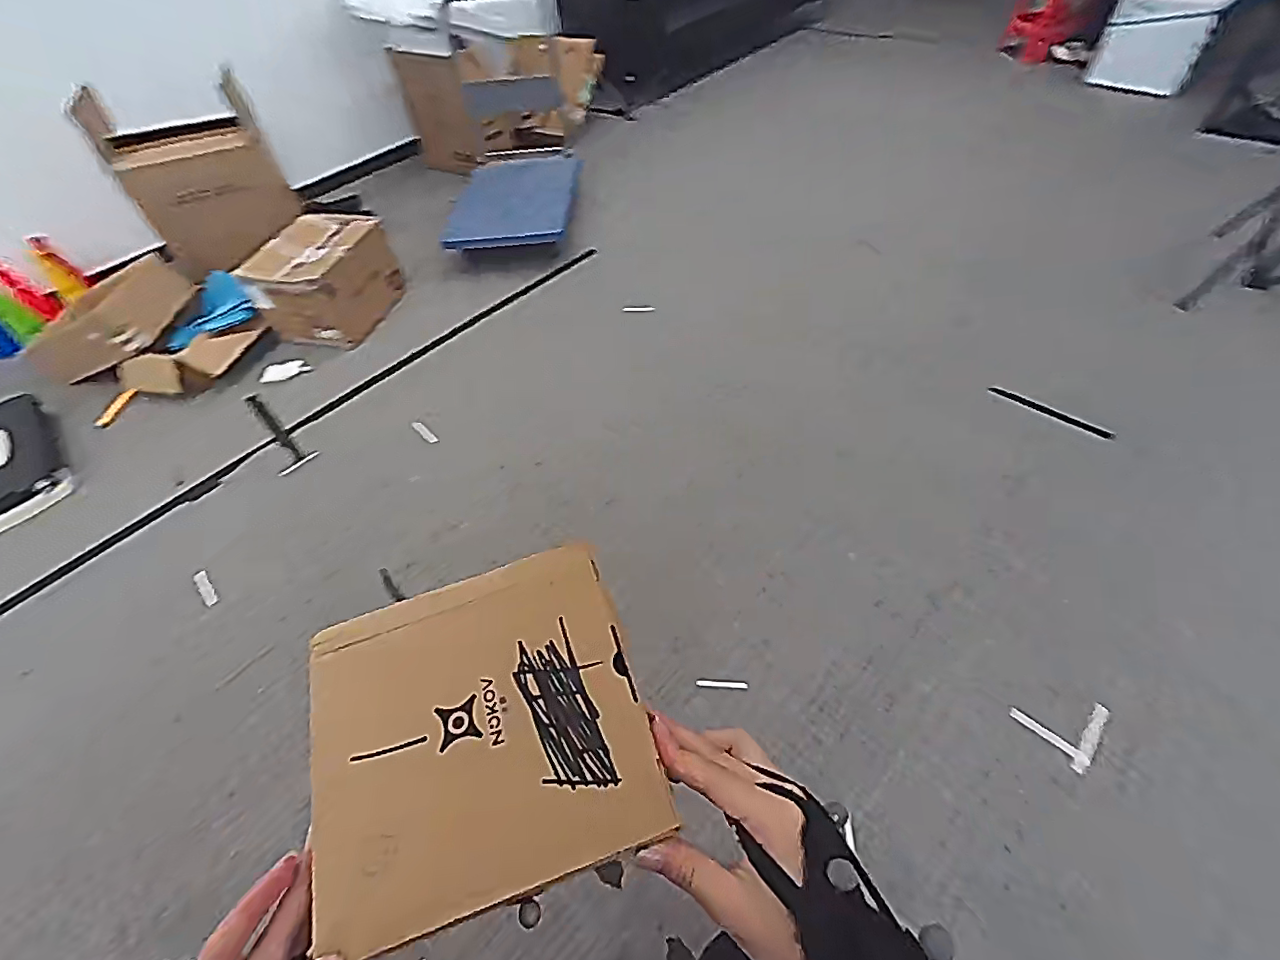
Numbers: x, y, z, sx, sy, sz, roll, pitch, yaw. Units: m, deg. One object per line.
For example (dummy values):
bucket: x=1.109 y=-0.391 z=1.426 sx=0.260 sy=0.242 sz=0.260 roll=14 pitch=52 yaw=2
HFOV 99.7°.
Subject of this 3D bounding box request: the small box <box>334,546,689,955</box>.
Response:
small box: x=-0.076 y=0.174 z=0.369 sx=0.179 sy=0.176 sz=0.168 roll=-18 pitch=58 yaw=-6
